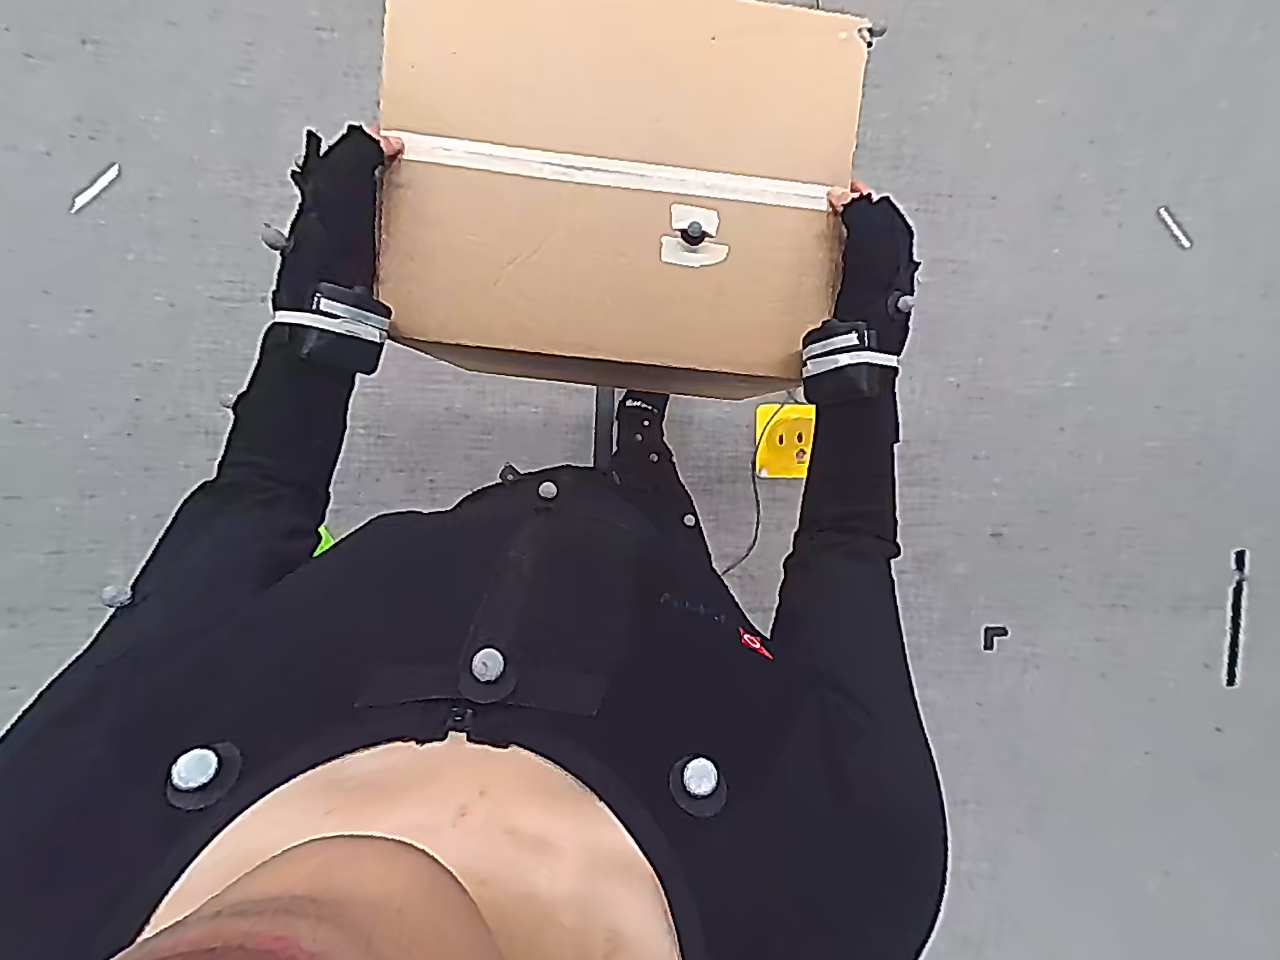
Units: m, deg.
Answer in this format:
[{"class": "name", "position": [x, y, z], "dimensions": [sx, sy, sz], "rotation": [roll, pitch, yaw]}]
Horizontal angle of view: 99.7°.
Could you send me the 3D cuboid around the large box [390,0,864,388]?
[{"class": "large box", "position": [-0.023, -0.286, 0.620], "dimensions": [0.408, 0.320, 0.320], "rotation": [5, 95, -5]}]
